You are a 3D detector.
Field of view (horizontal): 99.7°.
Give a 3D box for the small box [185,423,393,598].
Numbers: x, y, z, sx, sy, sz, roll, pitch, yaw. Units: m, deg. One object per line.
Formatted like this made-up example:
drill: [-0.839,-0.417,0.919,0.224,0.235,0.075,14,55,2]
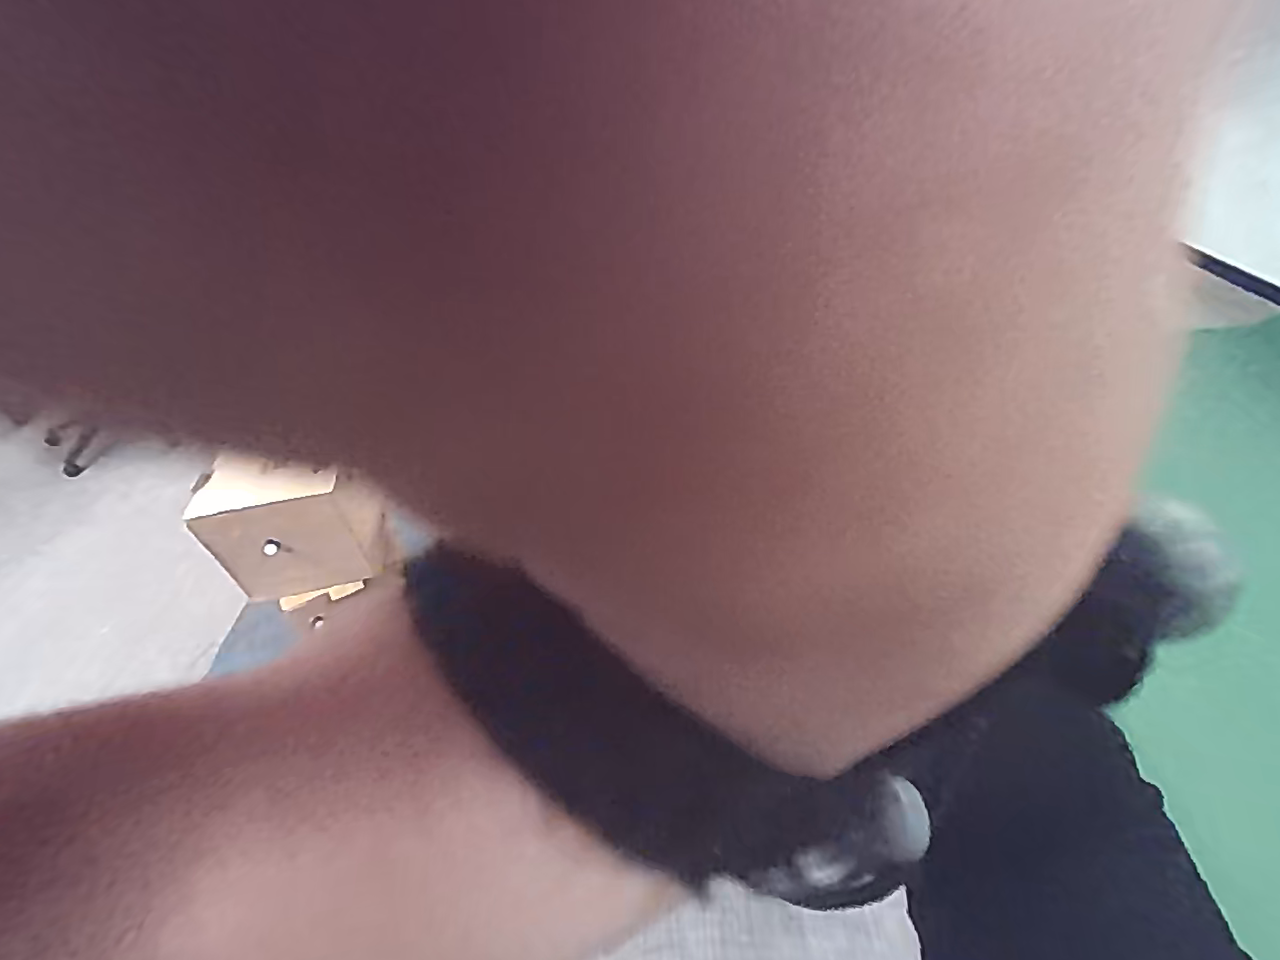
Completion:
small box: [-0.482,0.045,0.777,0.179,0.176,0.168,-13,42,-8]
